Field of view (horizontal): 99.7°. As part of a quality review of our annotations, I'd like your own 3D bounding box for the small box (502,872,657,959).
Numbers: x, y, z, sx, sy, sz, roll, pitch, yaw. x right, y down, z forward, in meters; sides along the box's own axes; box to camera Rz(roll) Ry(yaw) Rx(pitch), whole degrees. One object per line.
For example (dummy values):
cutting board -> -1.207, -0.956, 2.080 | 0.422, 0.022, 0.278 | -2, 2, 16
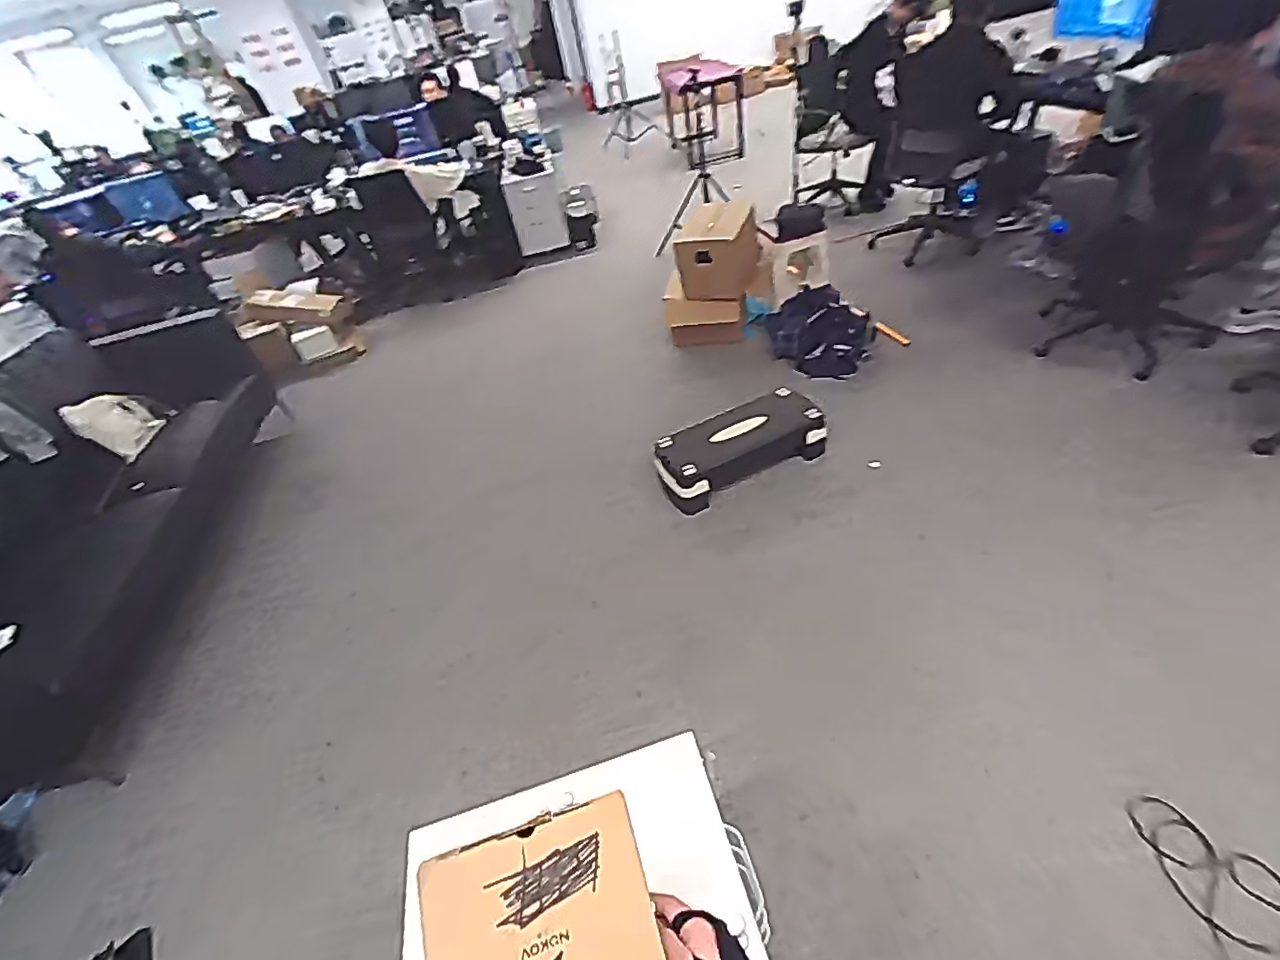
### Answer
small box -> -0.064, 0.627, 0.667 | 0.168, 0.176, 0.179 | -15, 40, -3
